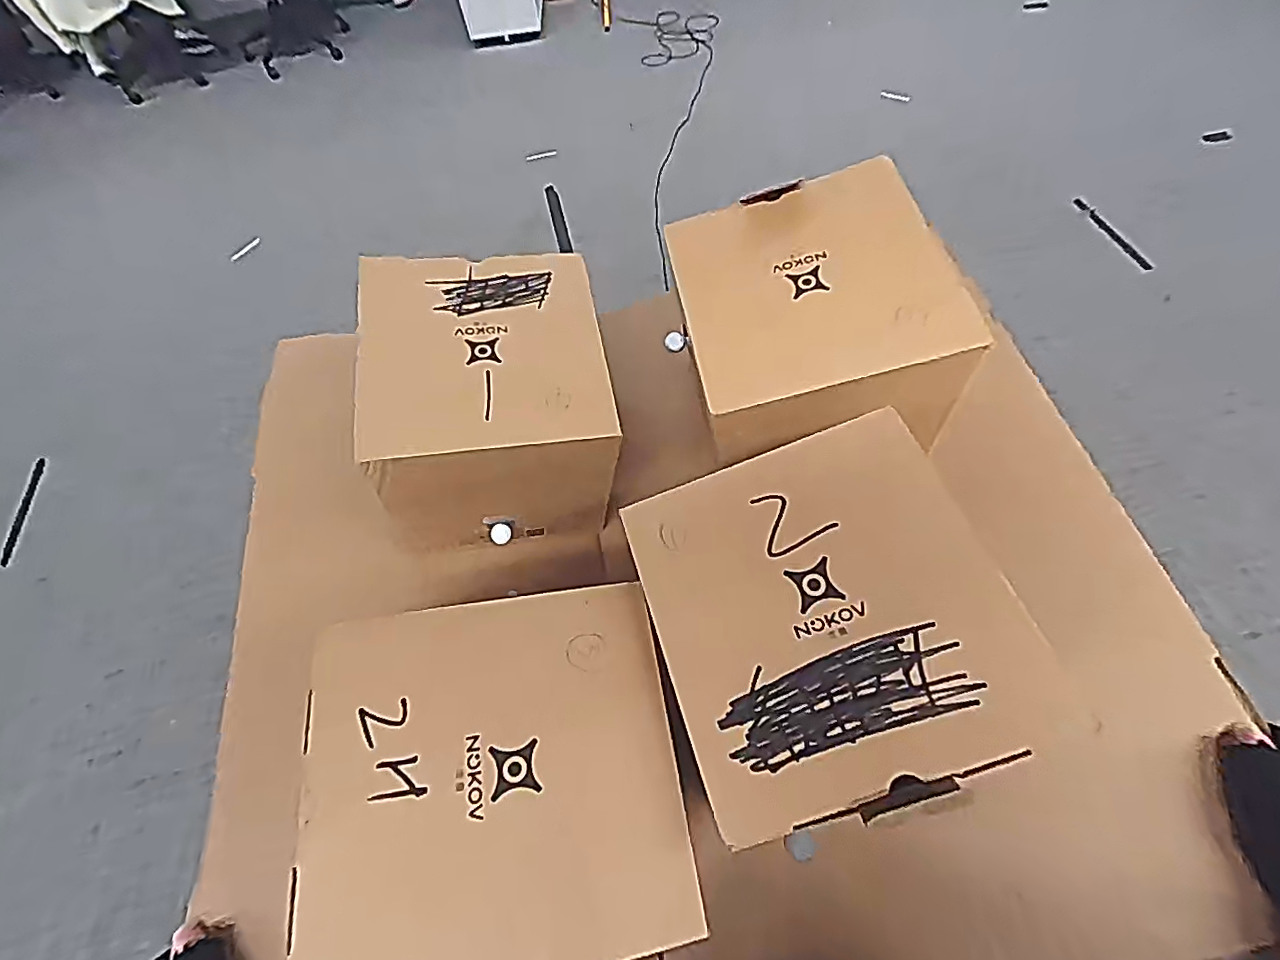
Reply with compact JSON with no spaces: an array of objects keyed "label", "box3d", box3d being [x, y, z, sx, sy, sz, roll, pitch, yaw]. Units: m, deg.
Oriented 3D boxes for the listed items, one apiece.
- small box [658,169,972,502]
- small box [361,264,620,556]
[{"label":"small box","box3d":[0.123,-0.096,0.431,0.168,0.176,0.179,-14,61,8]},{"label":"small box","box3d":[-0.119,-0.054,0.455,0.168,0.176,0.179,-7,63,-12]}]
